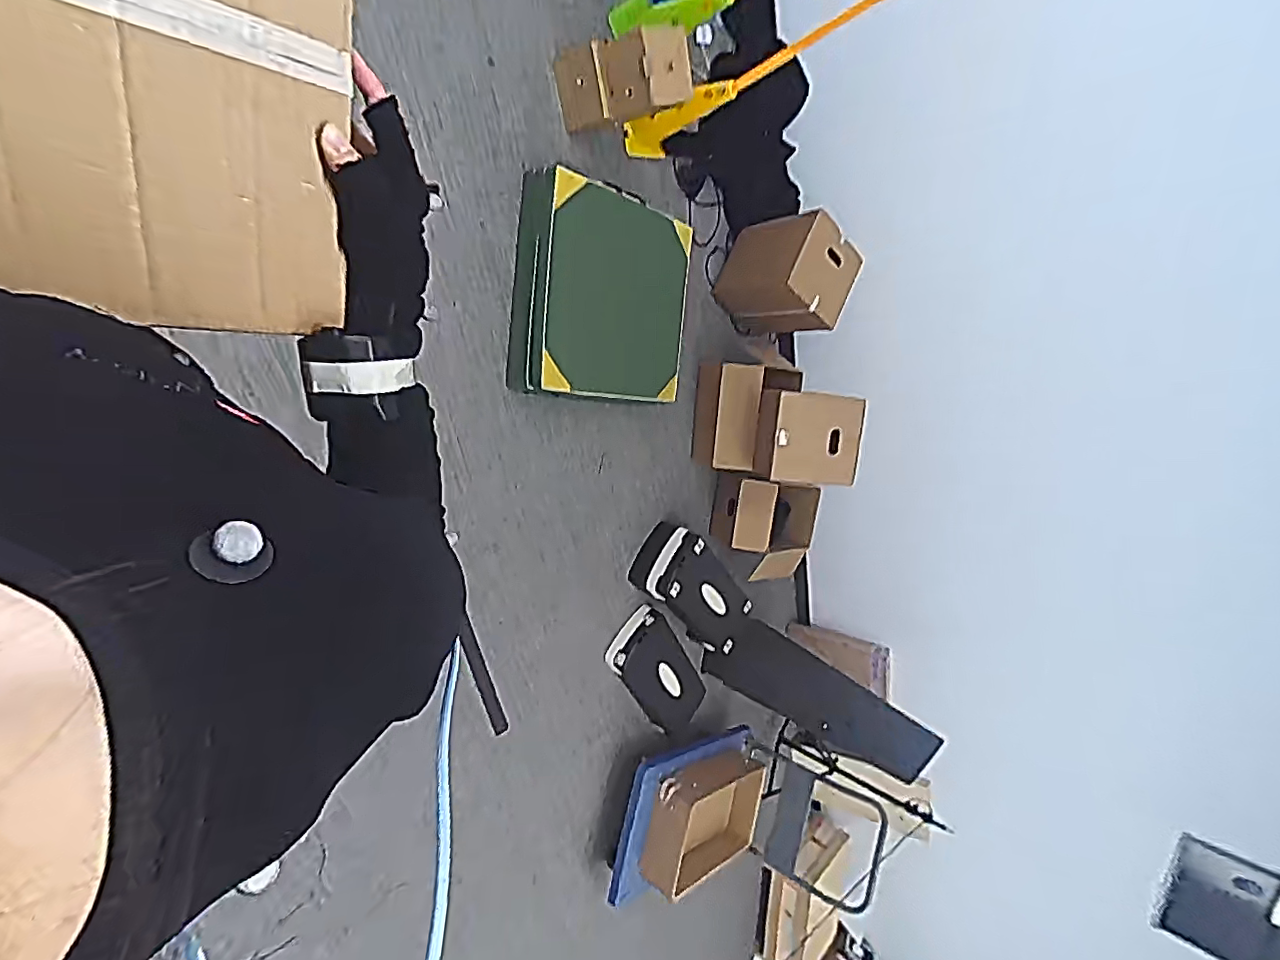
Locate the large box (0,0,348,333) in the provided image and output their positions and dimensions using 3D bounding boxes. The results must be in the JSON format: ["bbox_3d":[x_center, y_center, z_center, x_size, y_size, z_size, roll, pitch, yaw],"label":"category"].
[{"bbox_3d":[-0.420,-0.286,0.290,0.408,0.320,0.320,-9,127,-42],"label":"large box"}]
